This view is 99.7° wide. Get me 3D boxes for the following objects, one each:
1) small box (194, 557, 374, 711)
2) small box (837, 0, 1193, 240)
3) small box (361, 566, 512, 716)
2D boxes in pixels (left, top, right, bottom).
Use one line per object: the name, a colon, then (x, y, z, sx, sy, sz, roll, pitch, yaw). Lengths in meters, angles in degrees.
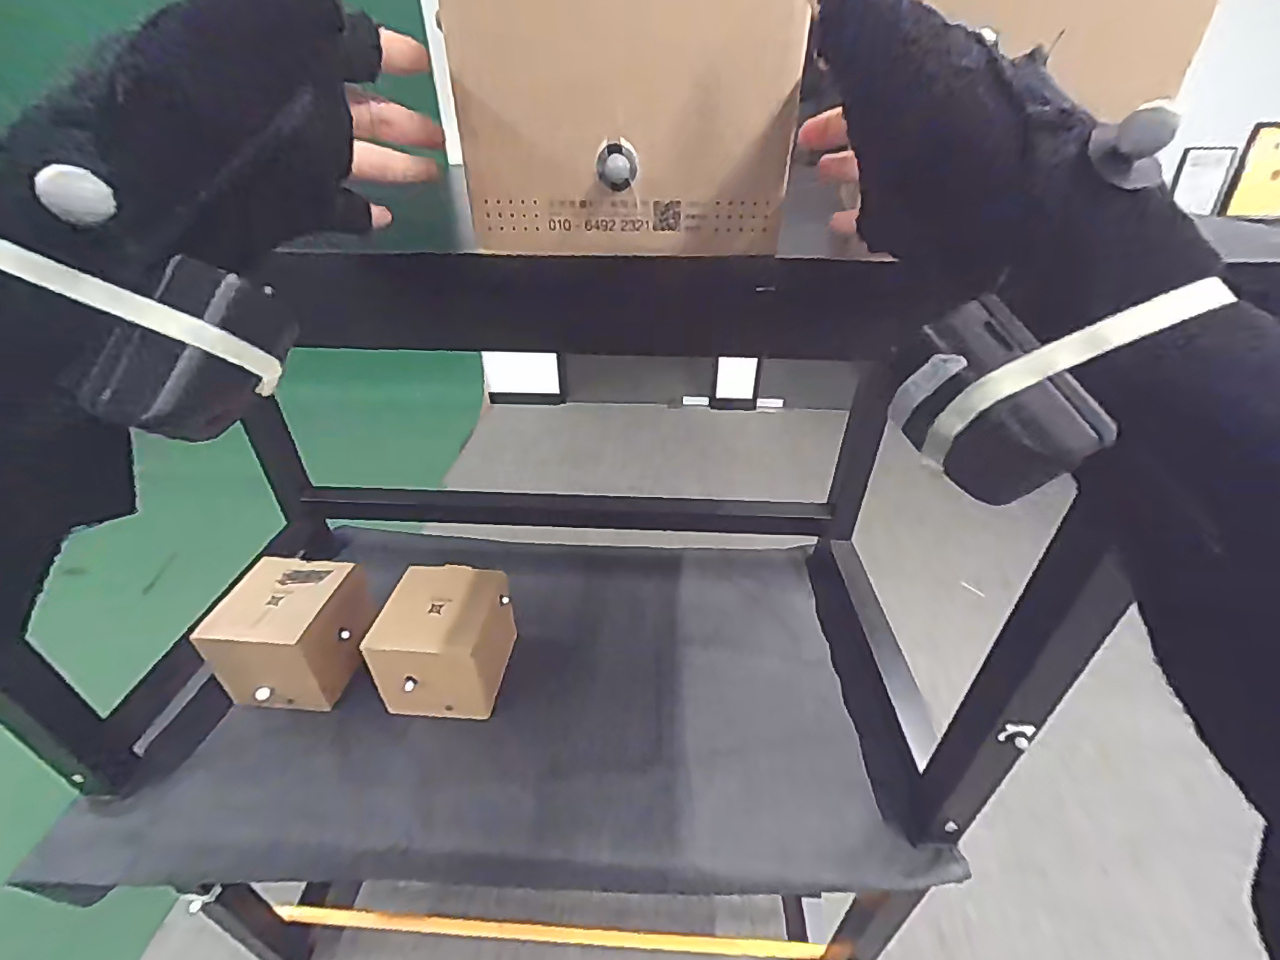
small box: (-0.571, 0.253, 0.902, 0.168, 0.176, 0.179, 3, 35, 3)
small box: (0.246, -0.280, 0.395, 0.168, 0.176, 0.179, 8, 35, 12)
small box: (-0.318, 0.264, 0.892, 0.168, 0.176, 0.179, 2, 34, 3)
